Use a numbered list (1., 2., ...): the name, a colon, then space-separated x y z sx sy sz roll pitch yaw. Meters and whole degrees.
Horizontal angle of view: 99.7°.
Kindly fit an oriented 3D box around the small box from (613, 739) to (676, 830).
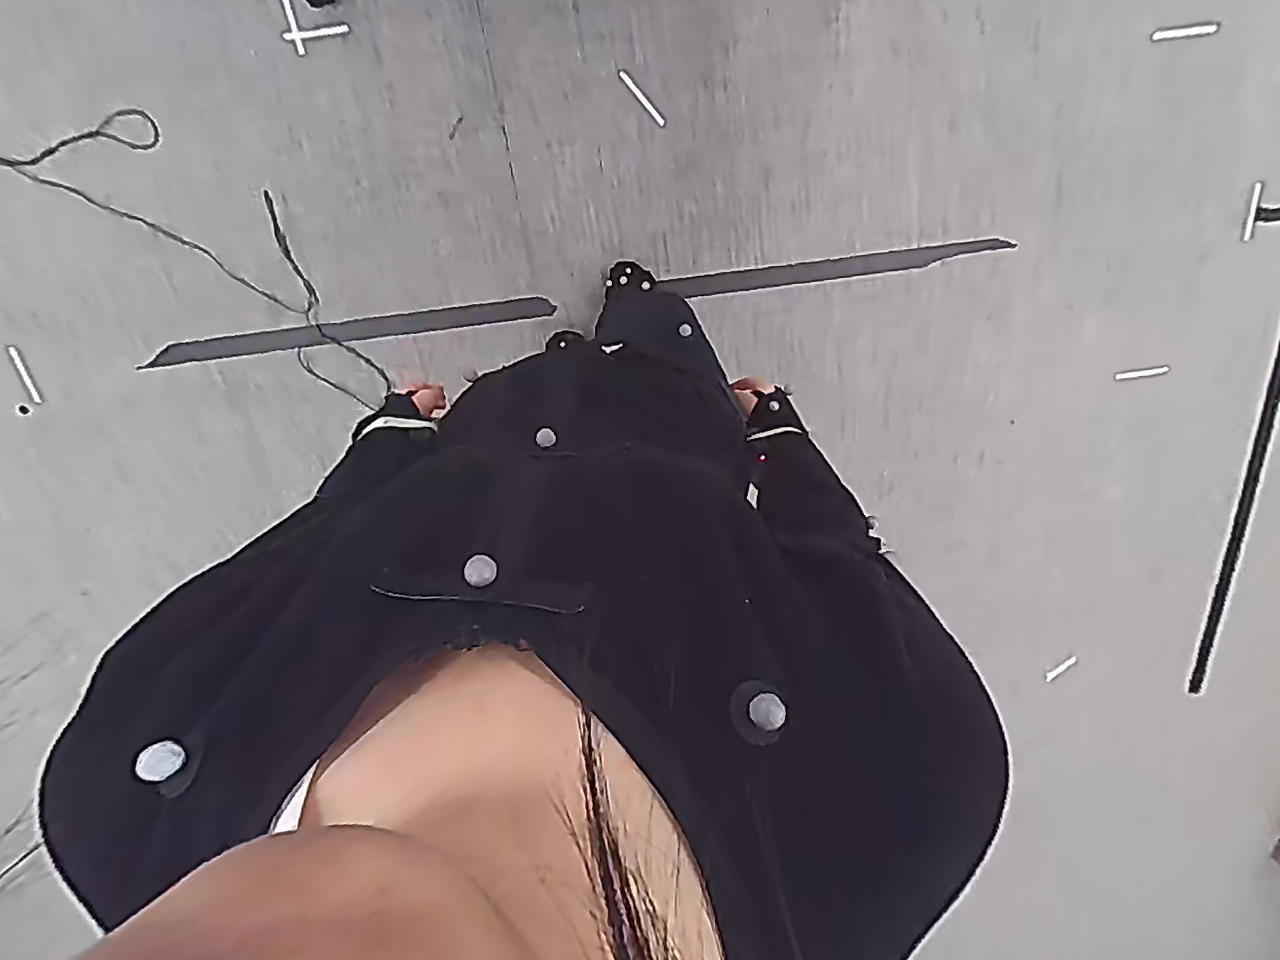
1. small box: 0.011 0.977 1.741 0.168 0.176 0.179 -14 110 0
